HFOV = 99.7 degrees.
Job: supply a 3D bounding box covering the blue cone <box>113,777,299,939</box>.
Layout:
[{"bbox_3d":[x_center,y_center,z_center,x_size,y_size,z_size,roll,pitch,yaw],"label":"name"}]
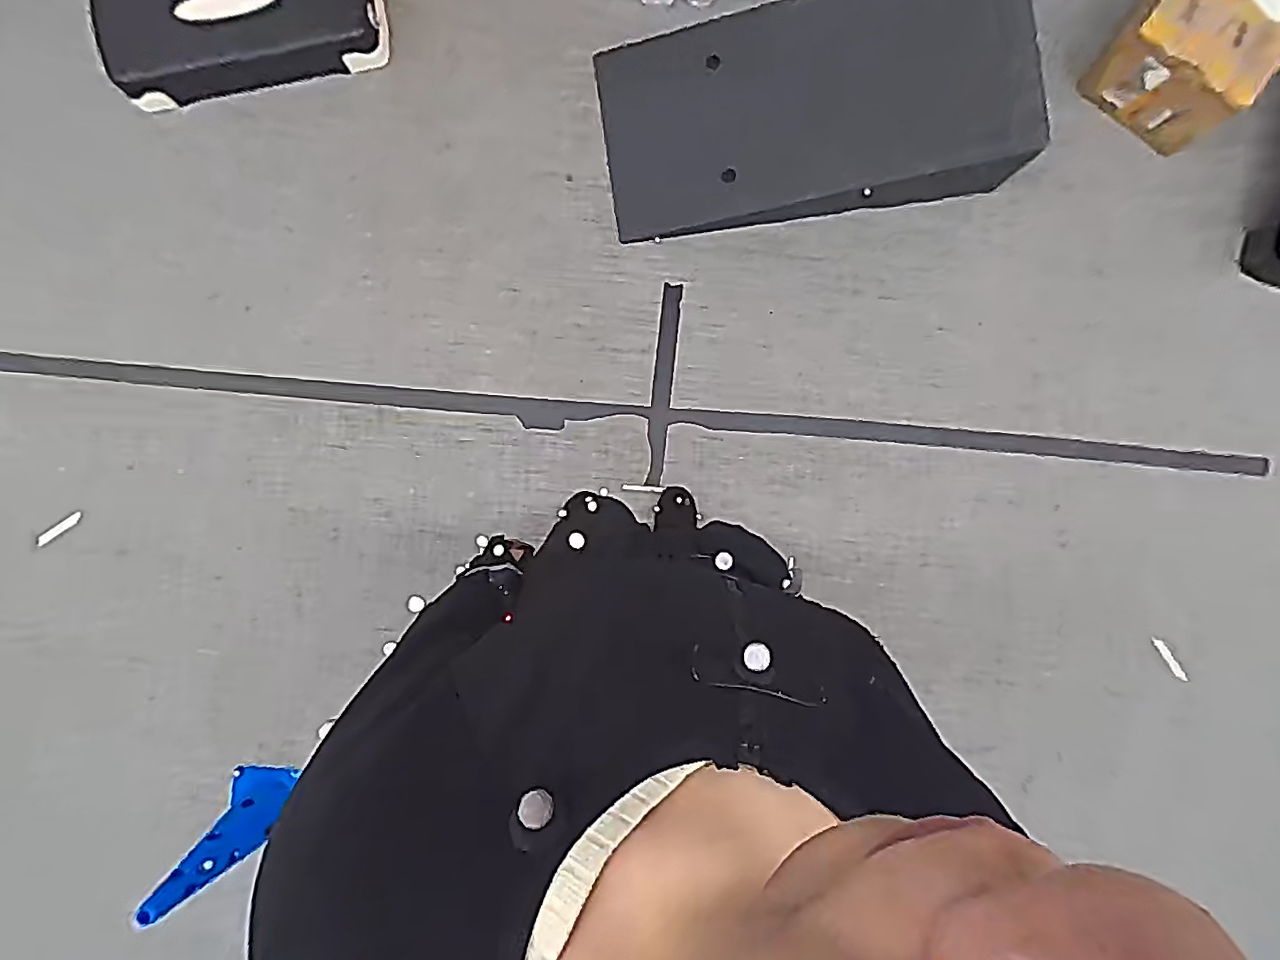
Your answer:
[{"bbox_3d":[-0.963,0.849,1.202,0.192,0.380,0.193,7,90,1],"label":"blue cone"}]
